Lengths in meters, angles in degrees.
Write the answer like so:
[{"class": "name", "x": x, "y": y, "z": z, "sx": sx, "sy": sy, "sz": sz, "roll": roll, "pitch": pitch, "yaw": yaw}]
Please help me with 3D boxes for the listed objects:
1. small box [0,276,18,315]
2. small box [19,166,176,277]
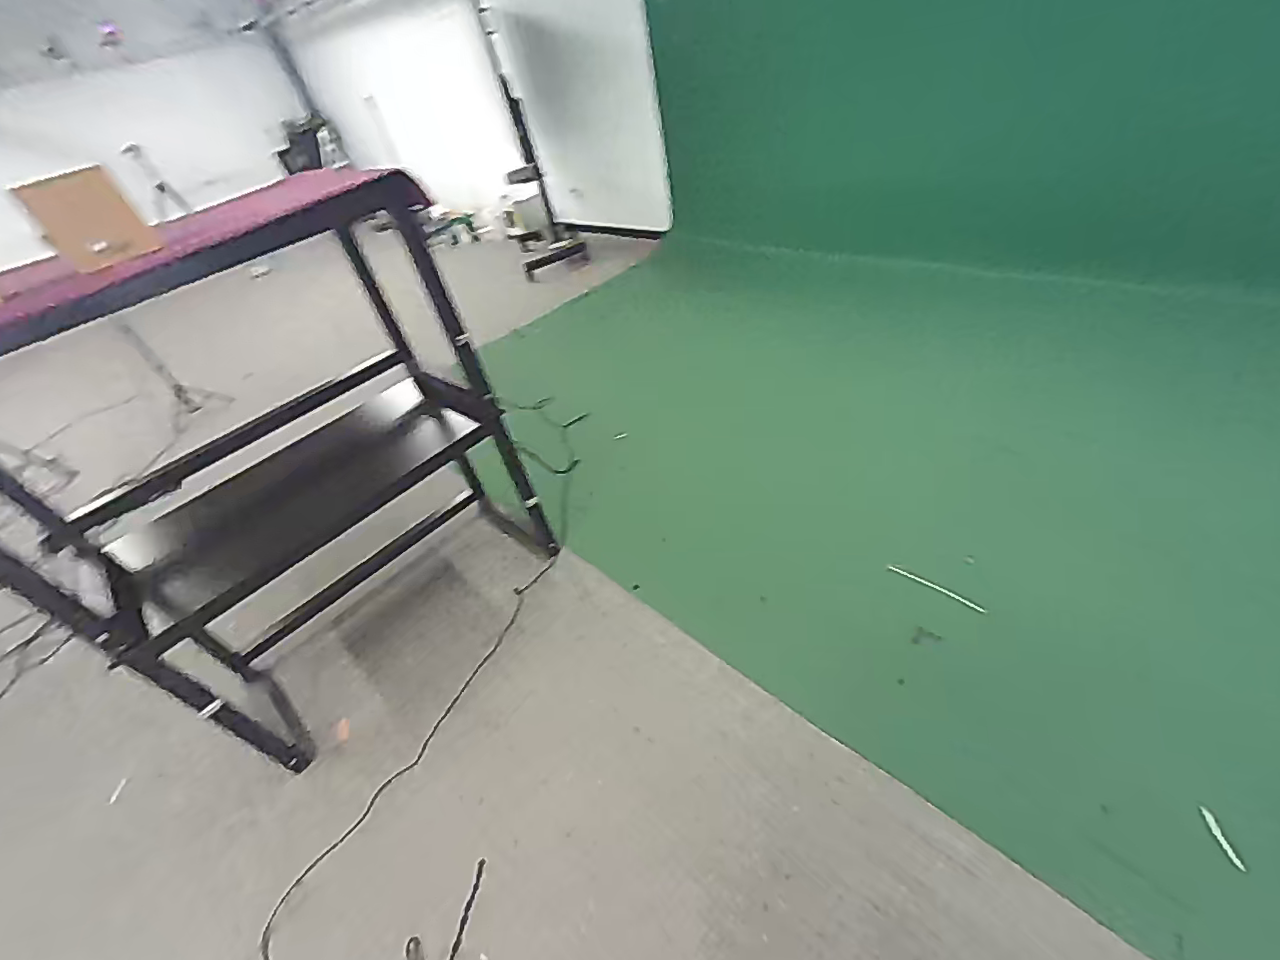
[{"class": "small box", "x": -1.321, "y": -0.376, "z": 0.999, "sx": 0.179, "sy": 0.176, "sz": 0.168, "roll": 25, "pitch": 54, "yaw": 38}, {"class": "small box", "x": -1.137, "y": -0.547, "z": 1.146, "sx": 0.168, "sy": 0.176, "sz": 0.179, "roll": -38, "pitch": 45, "yaw": -25}]
